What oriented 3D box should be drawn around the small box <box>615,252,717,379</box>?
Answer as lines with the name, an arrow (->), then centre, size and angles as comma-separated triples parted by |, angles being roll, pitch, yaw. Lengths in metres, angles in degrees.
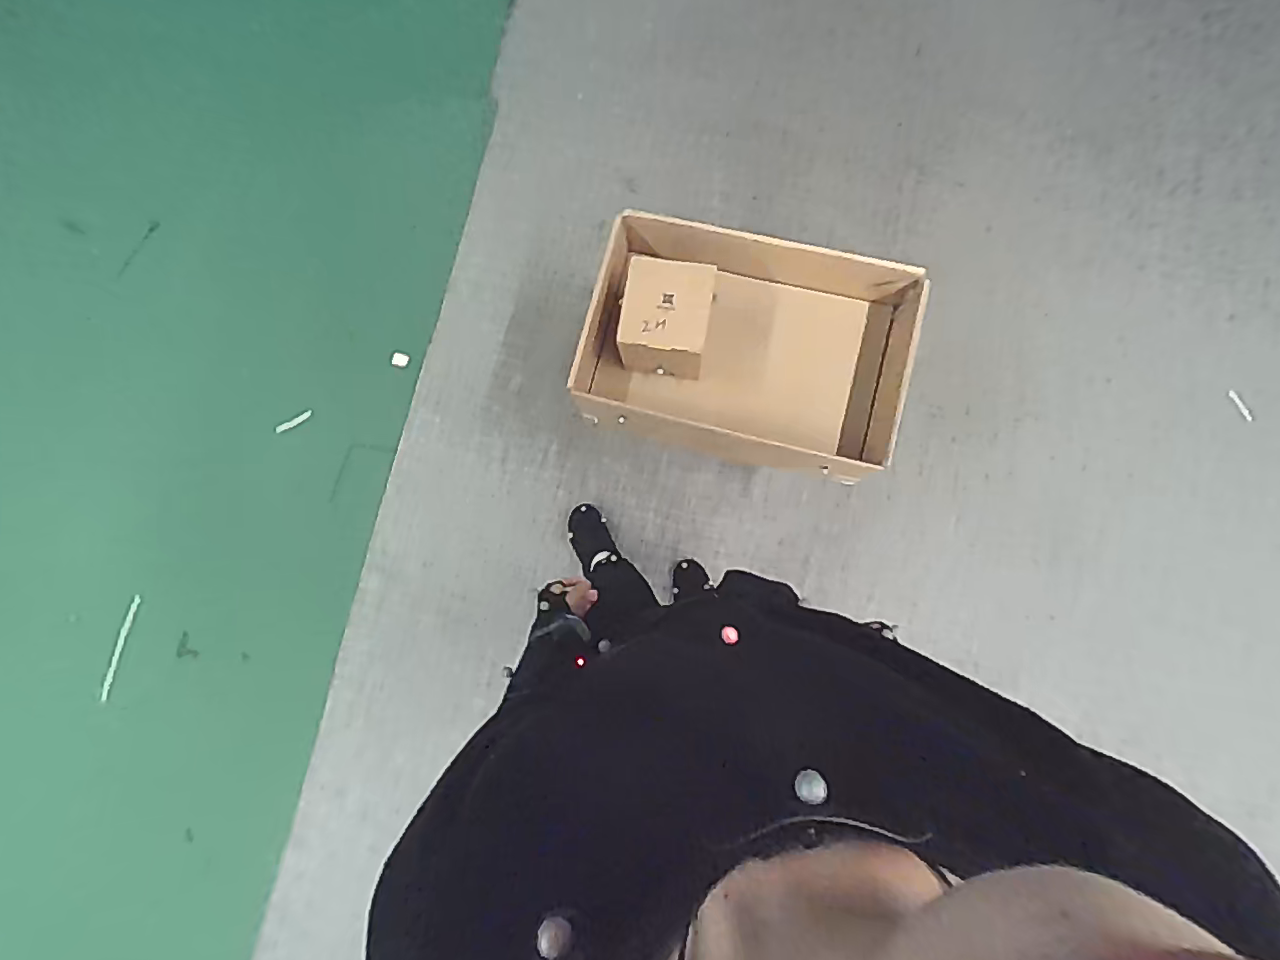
small box -> 0.053, -0.319, 1.077 | 0.168, 0.176, 0.179 | 10, 83, 6
